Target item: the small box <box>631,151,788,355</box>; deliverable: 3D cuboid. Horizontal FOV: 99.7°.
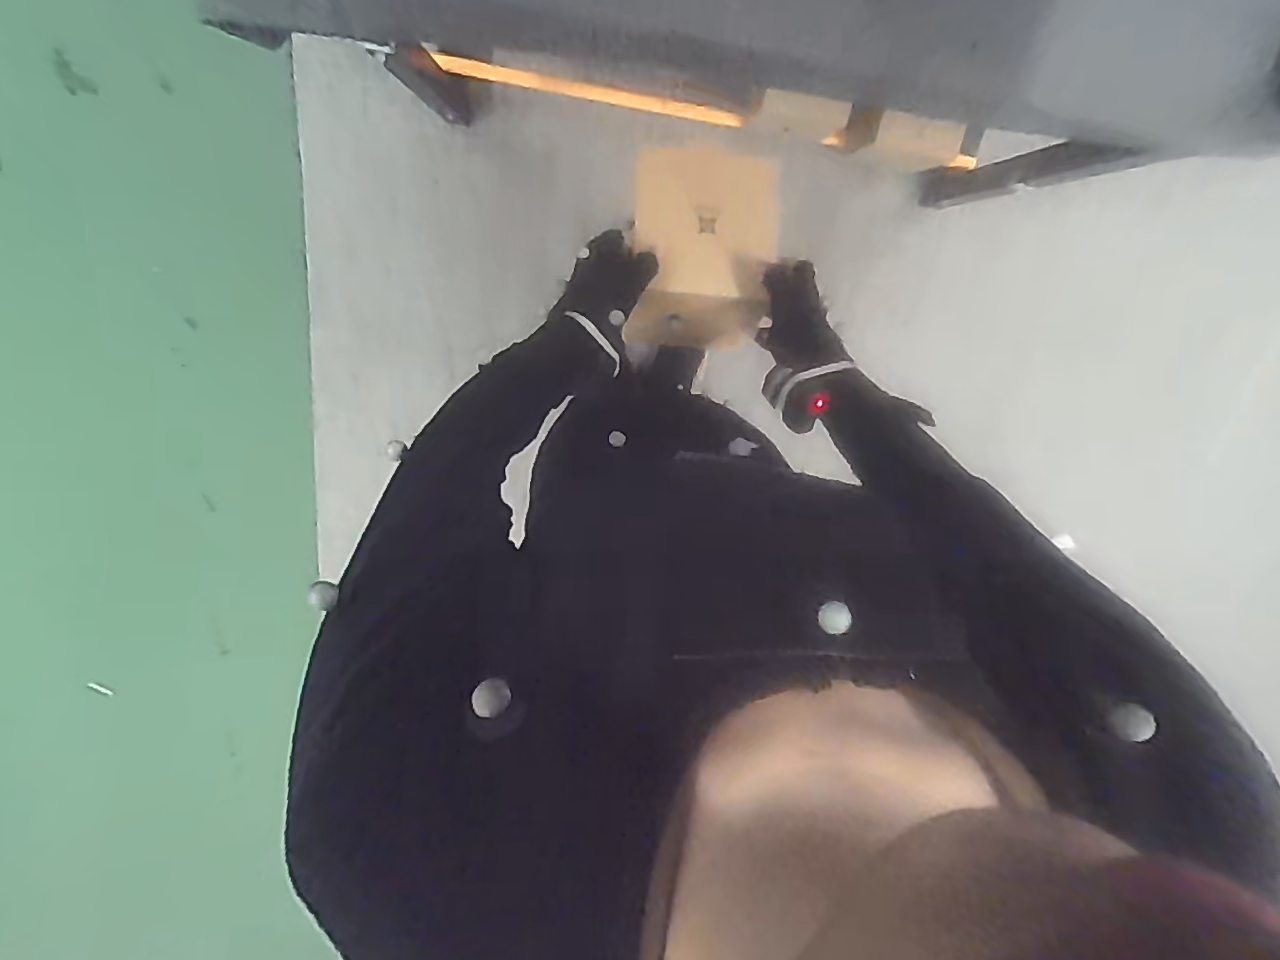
[{"bbox_3d":[0.078,-0.270,0.680,0.168,0.176,0.179,4,82,-4],"label":"small box"}]
